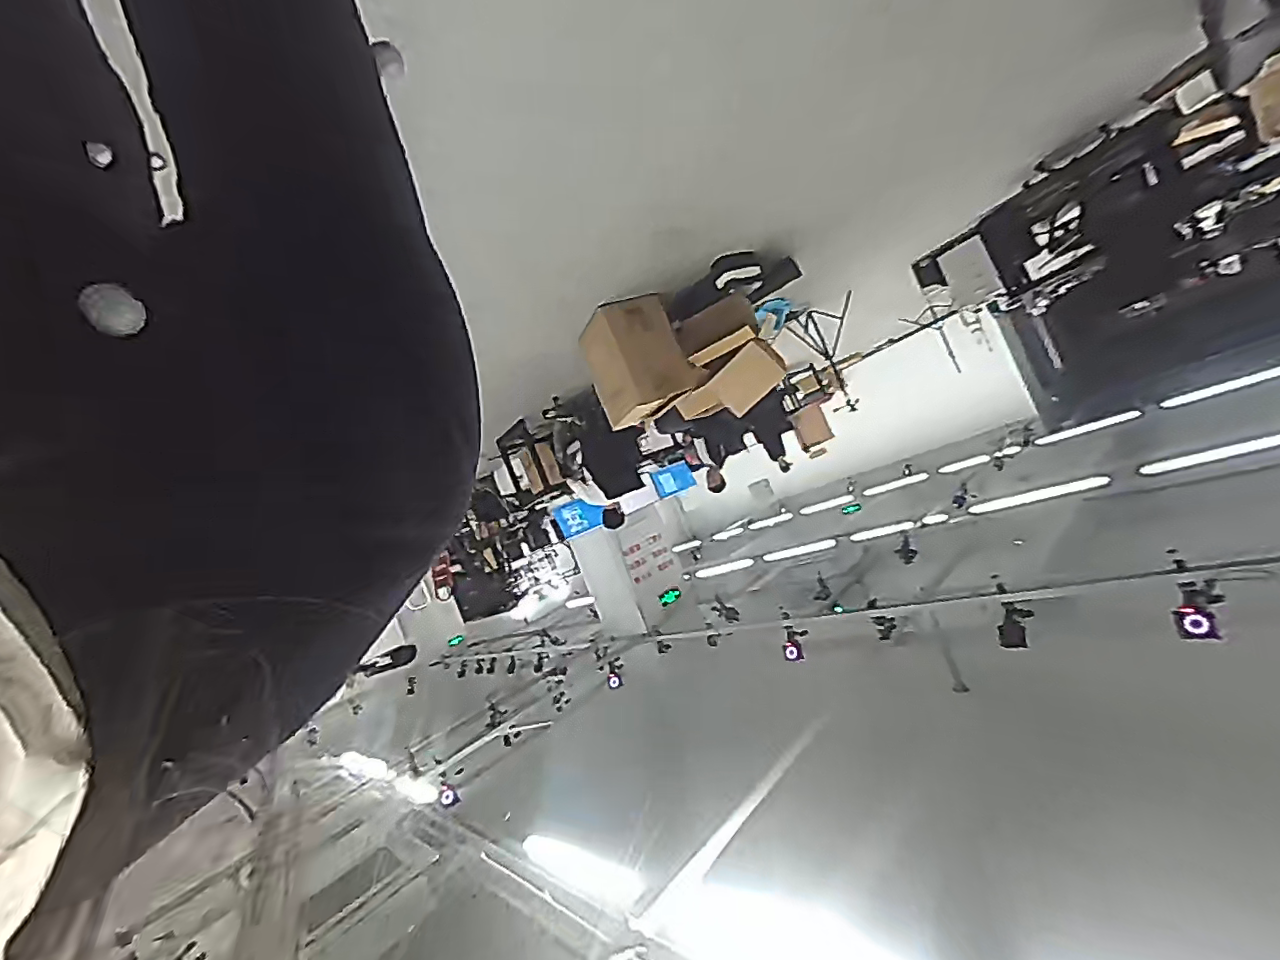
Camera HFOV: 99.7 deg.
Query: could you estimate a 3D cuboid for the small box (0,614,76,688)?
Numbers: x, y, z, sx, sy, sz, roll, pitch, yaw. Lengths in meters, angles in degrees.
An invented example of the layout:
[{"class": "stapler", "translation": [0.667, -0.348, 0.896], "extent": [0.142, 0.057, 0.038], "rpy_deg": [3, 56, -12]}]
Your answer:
[{"class": "small box", "translation": [-1.956, 0.544, 1.719], "extent": [0.179, 0.176, 0.168], "rpy_deg": [-19, 176, -39]}]
